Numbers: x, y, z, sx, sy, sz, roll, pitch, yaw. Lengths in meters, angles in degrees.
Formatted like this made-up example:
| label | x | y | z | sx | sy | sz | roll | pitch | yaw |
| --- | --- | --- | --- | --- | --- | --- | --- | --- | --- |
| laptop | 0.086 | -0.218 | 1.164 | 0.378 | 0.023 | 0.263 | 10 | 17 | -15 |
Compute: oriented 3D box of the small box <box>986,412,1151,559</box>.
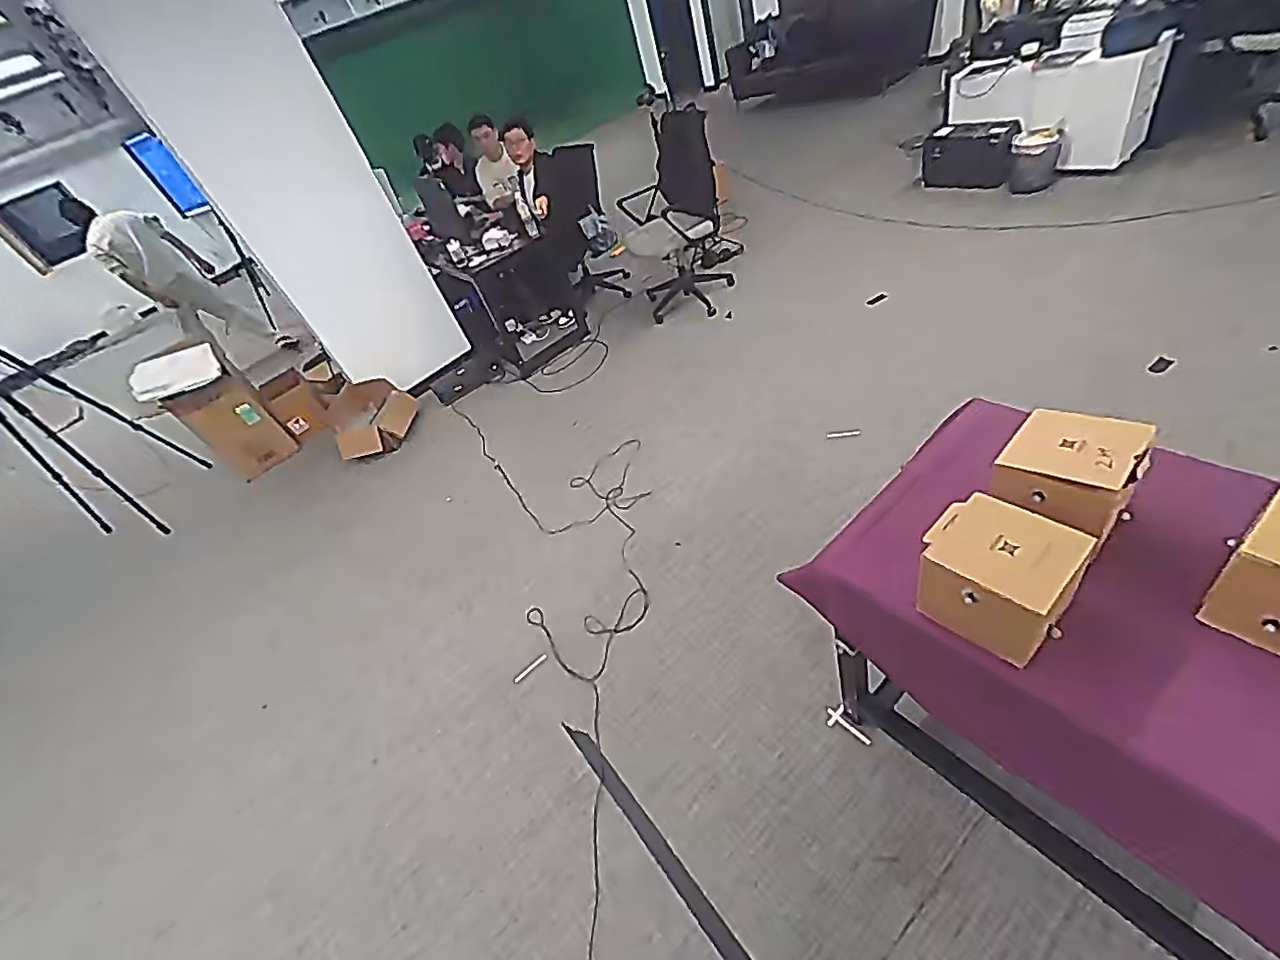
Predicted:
| label | x | y | z | sx | sy | sz | roll | pitch | yaw |
| --- | --- | --- | --- | --- | --- | --- | --- | --- | --- |
| small box | 0.742 | 0.011 | 0.959 | 0.168 | 0.176 | 0.179 | -42 | 45 | -20 |

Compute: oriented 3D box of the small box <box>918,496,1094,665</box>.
| label | x | y | z | sx | sy | sz | roll | pitch | yaw |
| --- | --- | --- | --- | --- | --- | --- | --- | --- | --- |
| small box | 0.574 | 0.162 | 0.873 | 0.168 | 0.176 | 0.179 | -40 | 44 | -19 |
